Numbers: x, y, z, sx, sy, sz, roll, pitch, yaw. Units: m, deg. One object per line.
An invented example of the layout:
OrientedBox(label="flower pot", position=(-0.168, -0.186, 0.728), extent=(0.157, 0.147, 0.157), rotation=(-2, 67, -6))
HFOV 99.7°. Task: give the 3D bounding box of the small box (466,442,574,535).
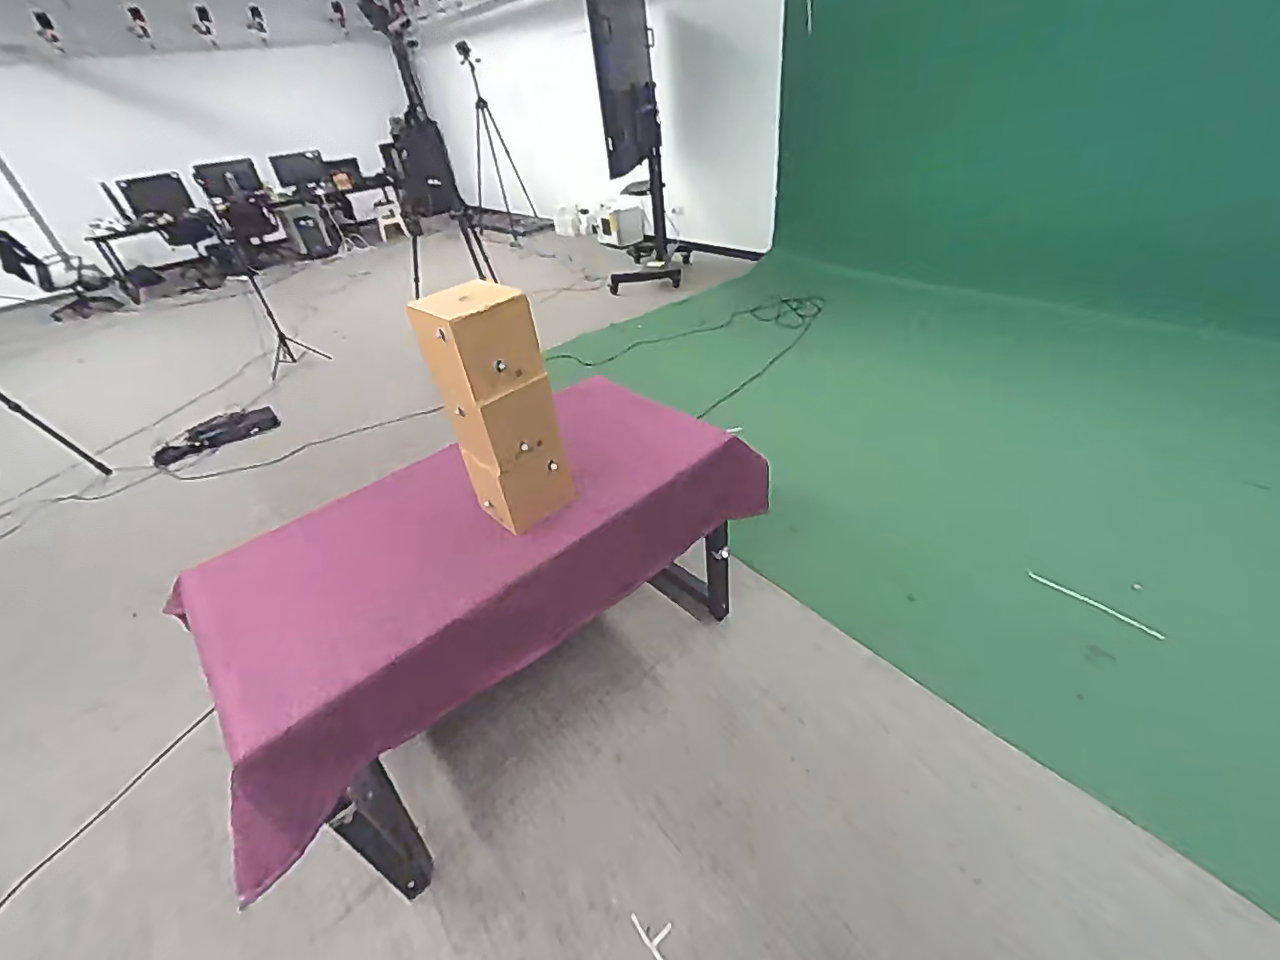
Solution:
OrientedBox(label="small box", position=(-0.269, -0.006, 1.251), extent=(0.179, 0.176, 0.168), rotation=(-33, 42, -30))

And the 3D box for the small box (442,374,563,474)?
OrientedBox(label="small box", position=(-0.290, -0.137, 1.156), extent=(0.168, 0.176, 0.179), rotation=(-34, 44, -30))

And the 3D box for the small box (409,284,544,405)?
OrientedBox(label="small box", position=(-0.316, -0.267, 1.063), extent=(0.179, 0.176, 0.168), rotation=(27, 49, 37))
